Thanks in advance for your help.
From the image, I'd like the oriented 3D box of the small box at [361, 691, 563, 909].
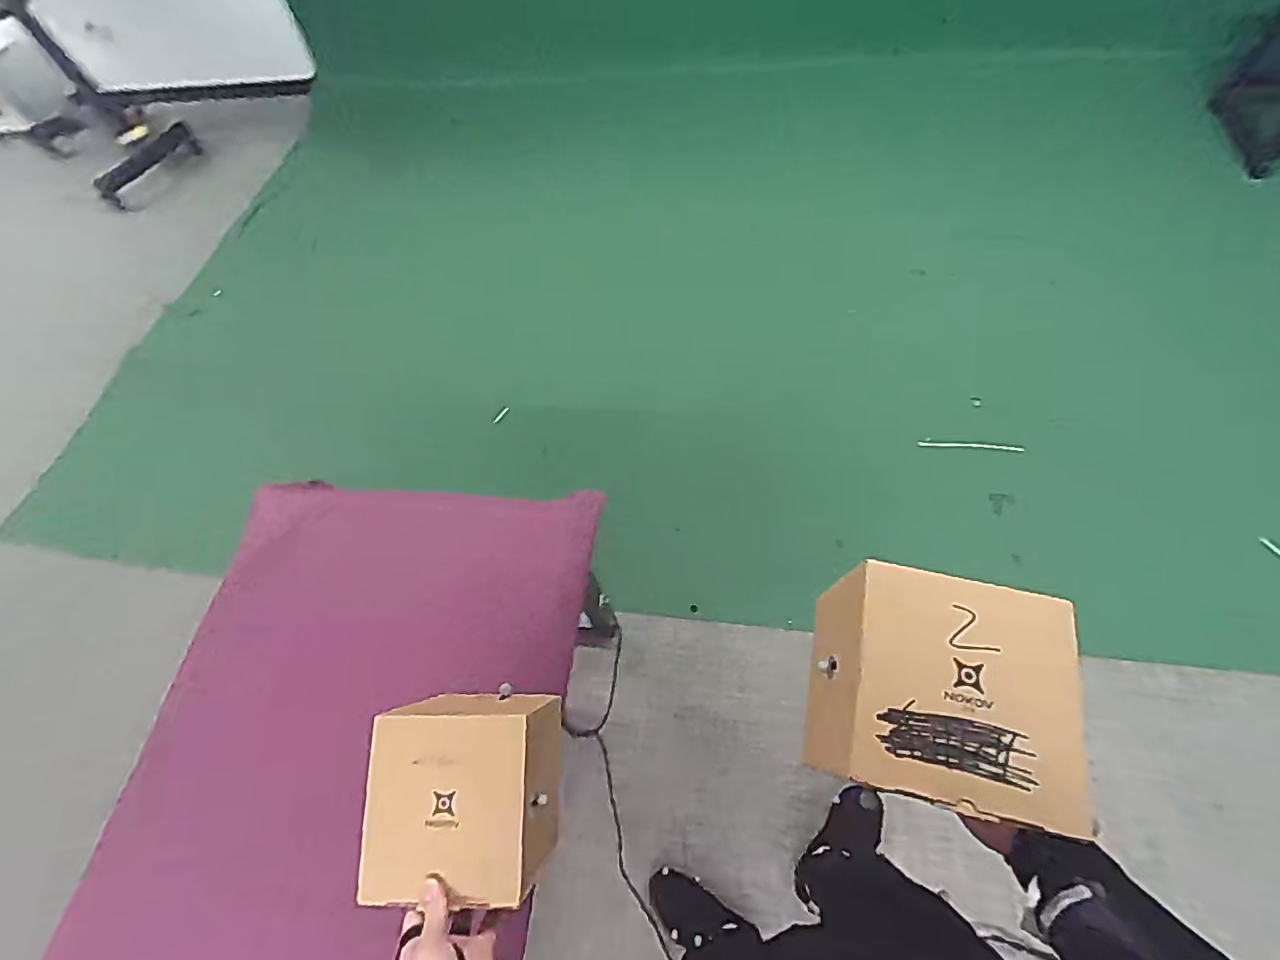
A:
[{"bbox_3d":[-0.188,0.349,0.624,0.168,0.176,0.179,-1,75,4],"label":"small box"}]
